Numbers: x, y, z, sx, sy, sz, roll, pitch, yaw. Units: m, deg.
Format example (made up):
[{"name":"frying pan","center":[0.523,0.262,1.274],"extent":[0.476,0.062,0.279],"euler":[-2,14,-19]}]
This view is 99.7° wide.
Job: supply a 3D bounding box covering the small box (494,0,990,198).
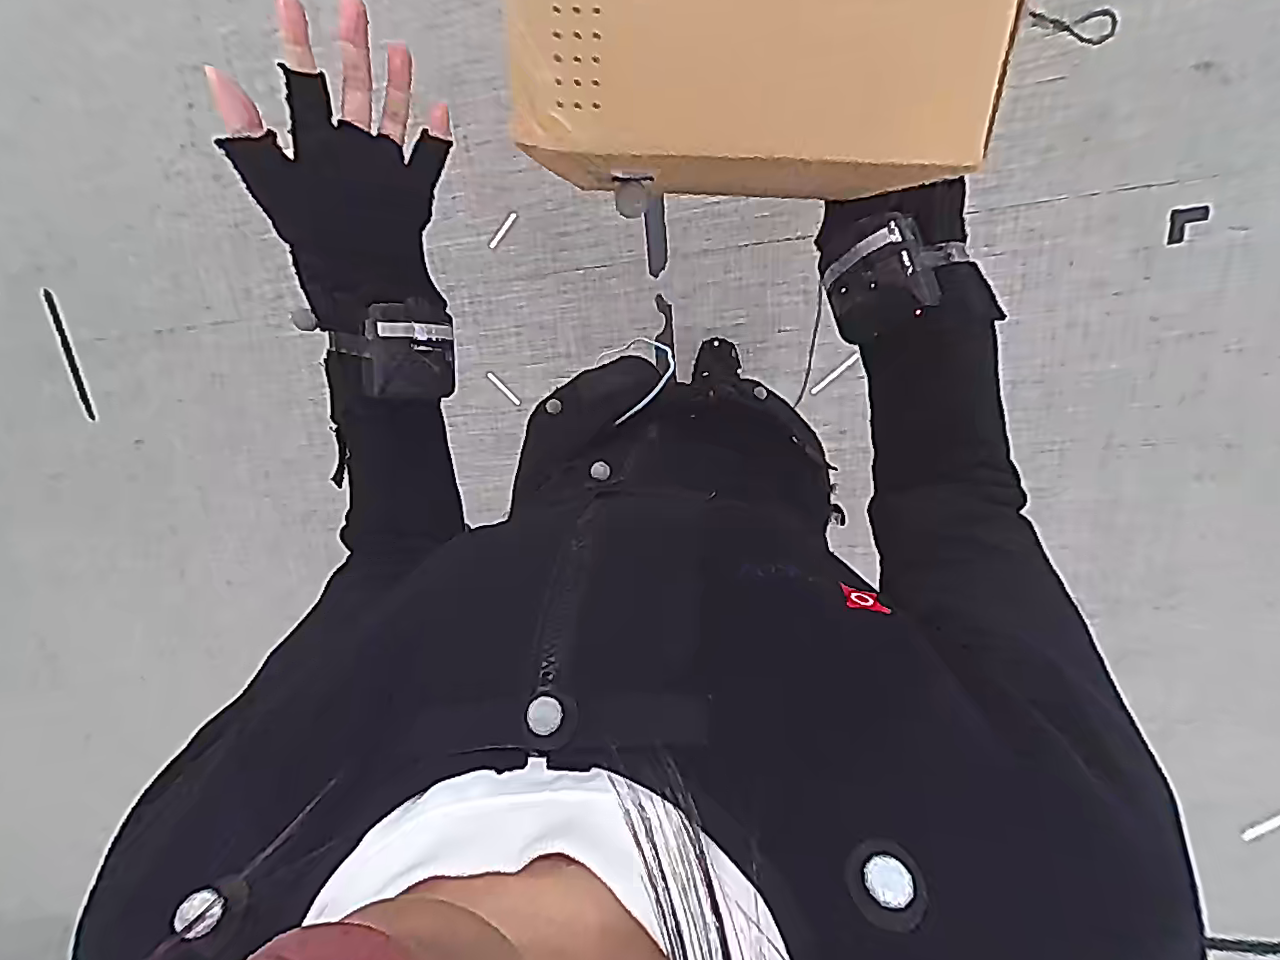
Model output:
[{"name":"small box","center":[0.036,-0.230,0.237],"extent":[0.176,0.168,0.179],"euler":[4,114,3]}]
